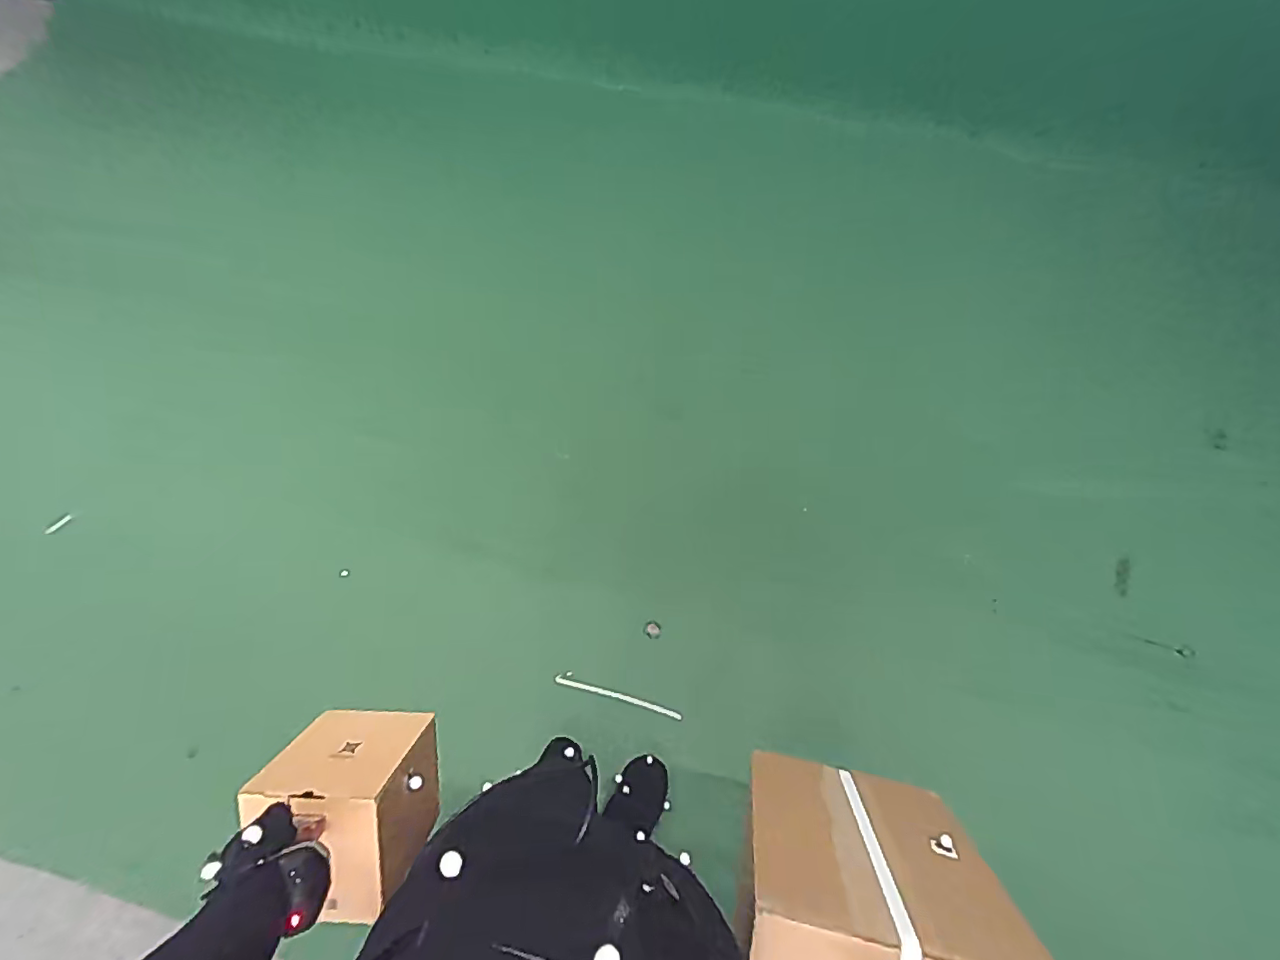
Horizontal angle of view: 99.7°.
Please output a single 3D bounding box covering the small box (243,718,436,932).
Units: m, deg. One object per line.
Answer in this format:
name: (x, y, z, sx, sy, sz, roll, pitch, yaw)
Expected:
small box: (-0.389, 0.448, 0.725, 0.168, 0.179, 0.176, 1, 98, 2)
